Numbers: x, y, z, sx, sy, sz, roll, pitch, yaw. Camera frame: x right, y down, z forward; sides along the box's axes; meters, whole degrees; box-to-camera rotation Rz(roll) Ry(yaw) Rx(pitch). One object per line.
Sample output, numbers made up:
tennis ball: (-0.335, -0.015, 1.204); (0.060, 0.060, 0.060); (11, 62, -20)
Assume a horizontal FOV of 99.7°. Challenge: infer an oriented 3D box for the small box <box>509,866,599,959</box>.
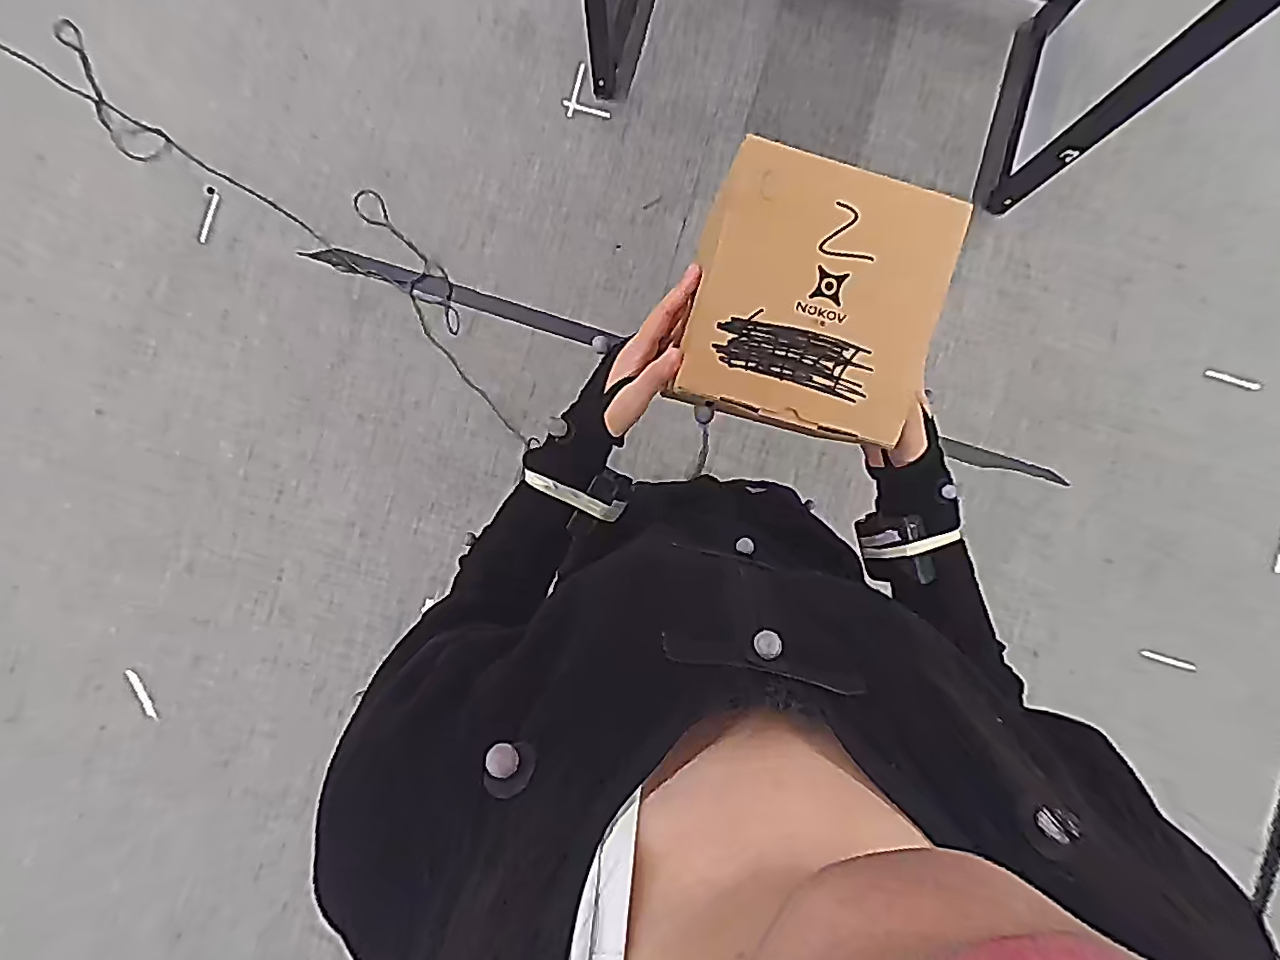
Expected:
small box: (-0.215, 1.153, 1.398); (0.179, 0.176, 0.168); (24, 89, -2)
